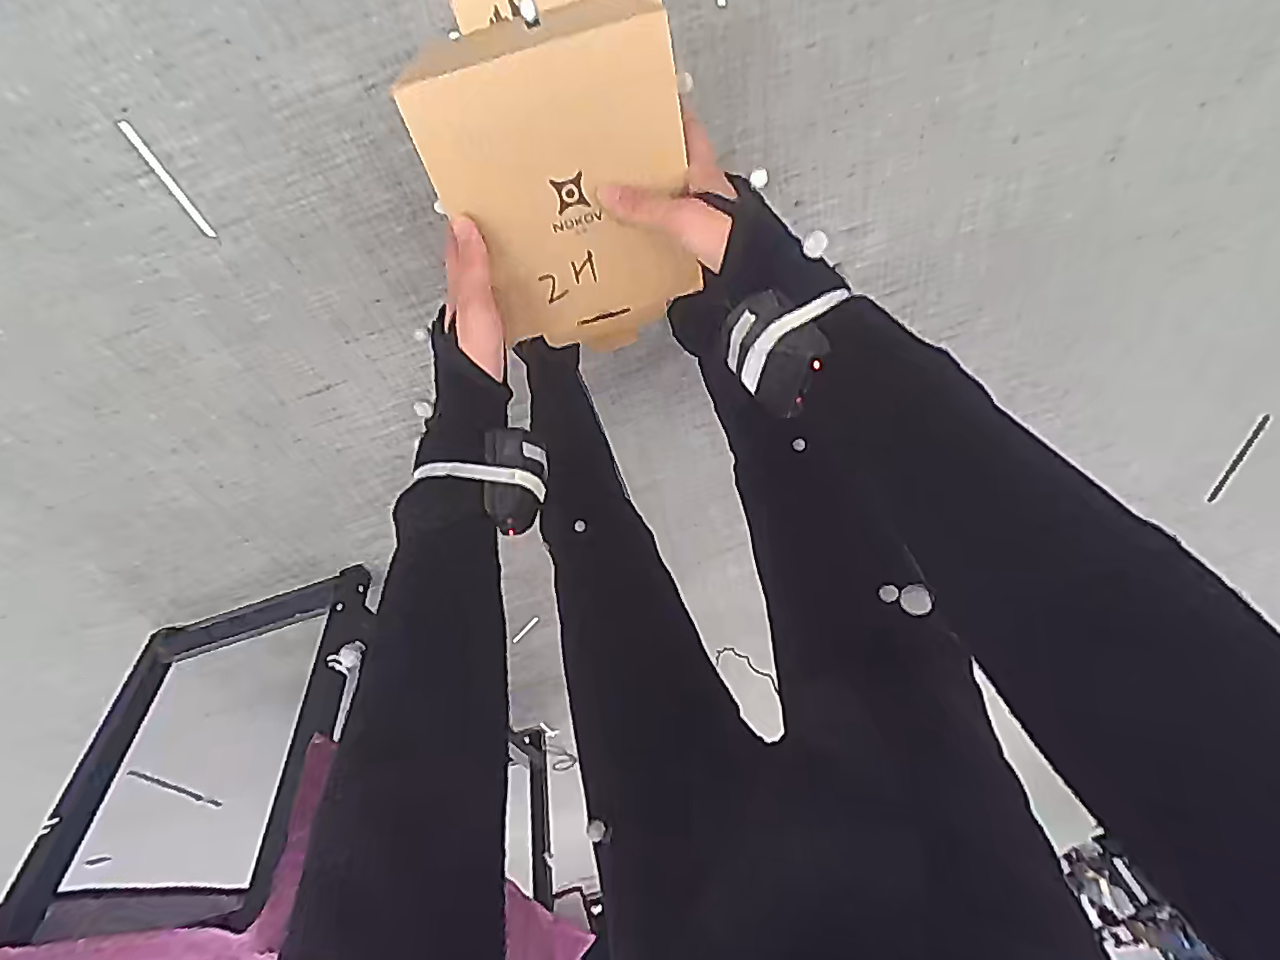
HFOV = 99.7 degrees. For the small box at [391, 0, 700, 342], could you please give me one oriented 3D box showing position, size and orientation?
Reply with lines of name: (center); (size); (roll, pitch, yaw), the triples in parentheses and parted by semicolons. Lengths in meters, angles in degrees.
small box: (-0.062, -0.241, 0.416); (0.168, 0.176, 0.179); (-15, 137, 2)
